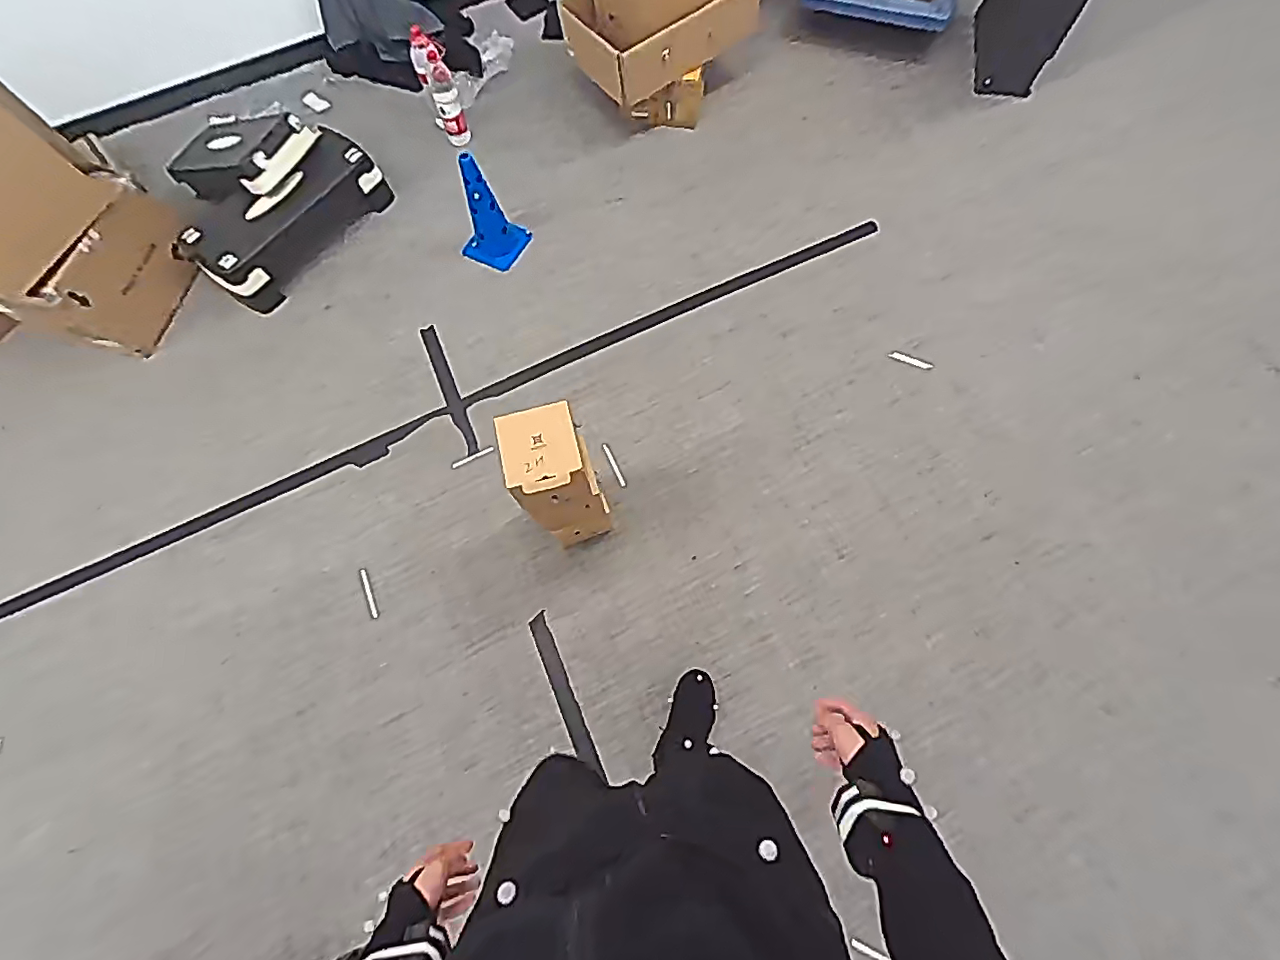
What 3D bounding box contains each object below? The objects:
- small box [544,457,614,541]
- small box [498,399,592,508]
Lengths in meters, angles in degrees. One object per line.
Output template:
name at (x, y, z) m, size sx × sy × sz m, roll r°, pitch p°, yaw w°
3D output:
small box at (-0.181, 0.063, 1.539) m, size 0.168 × 0.176 × 0.179 m, roll -20°, pitch 70°, yaw -5°
small box at (-0.212, -0.055, 1.232) m, size 0.168 × 0.176 × 0.179 m, roll -14°, pitch 70°, yaw -3°
